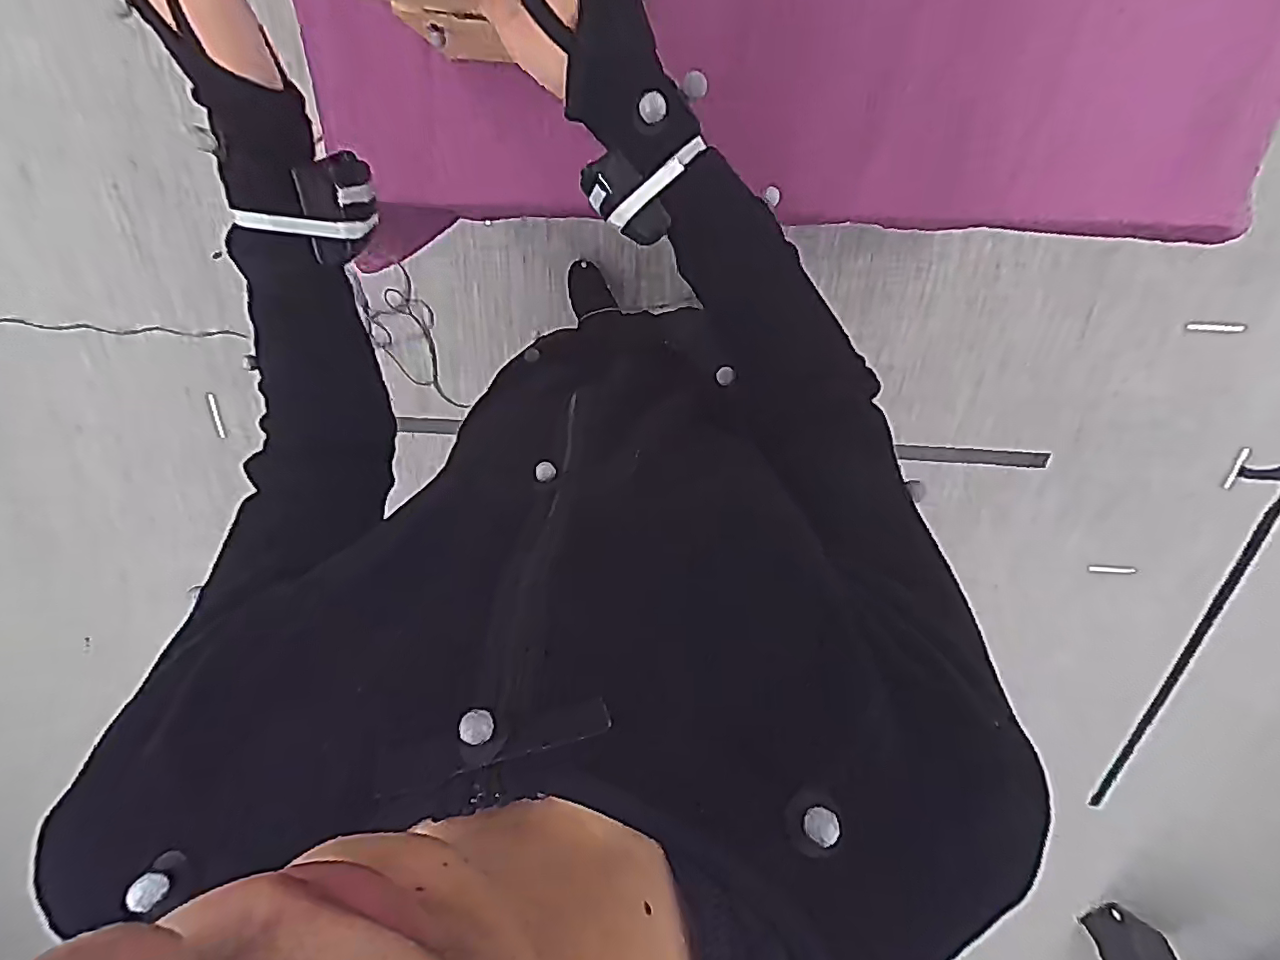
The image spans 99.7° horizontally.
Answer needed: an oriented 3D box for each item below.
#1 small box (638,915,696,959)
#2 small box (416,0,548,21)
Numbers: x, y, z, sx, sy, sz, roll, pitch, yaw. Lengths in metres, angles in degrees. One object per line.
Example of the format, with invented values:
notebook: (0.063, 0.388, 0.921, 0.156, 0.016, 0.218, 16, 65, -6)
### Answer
small box: (0.085, 1.491, 1.681, 0.179, 0.176, 0.168, -2, 115, 2)
small box: (-0.164, -0.486, 0.408, 0.179, 0.176, 0.168, 9, 116, -4)
